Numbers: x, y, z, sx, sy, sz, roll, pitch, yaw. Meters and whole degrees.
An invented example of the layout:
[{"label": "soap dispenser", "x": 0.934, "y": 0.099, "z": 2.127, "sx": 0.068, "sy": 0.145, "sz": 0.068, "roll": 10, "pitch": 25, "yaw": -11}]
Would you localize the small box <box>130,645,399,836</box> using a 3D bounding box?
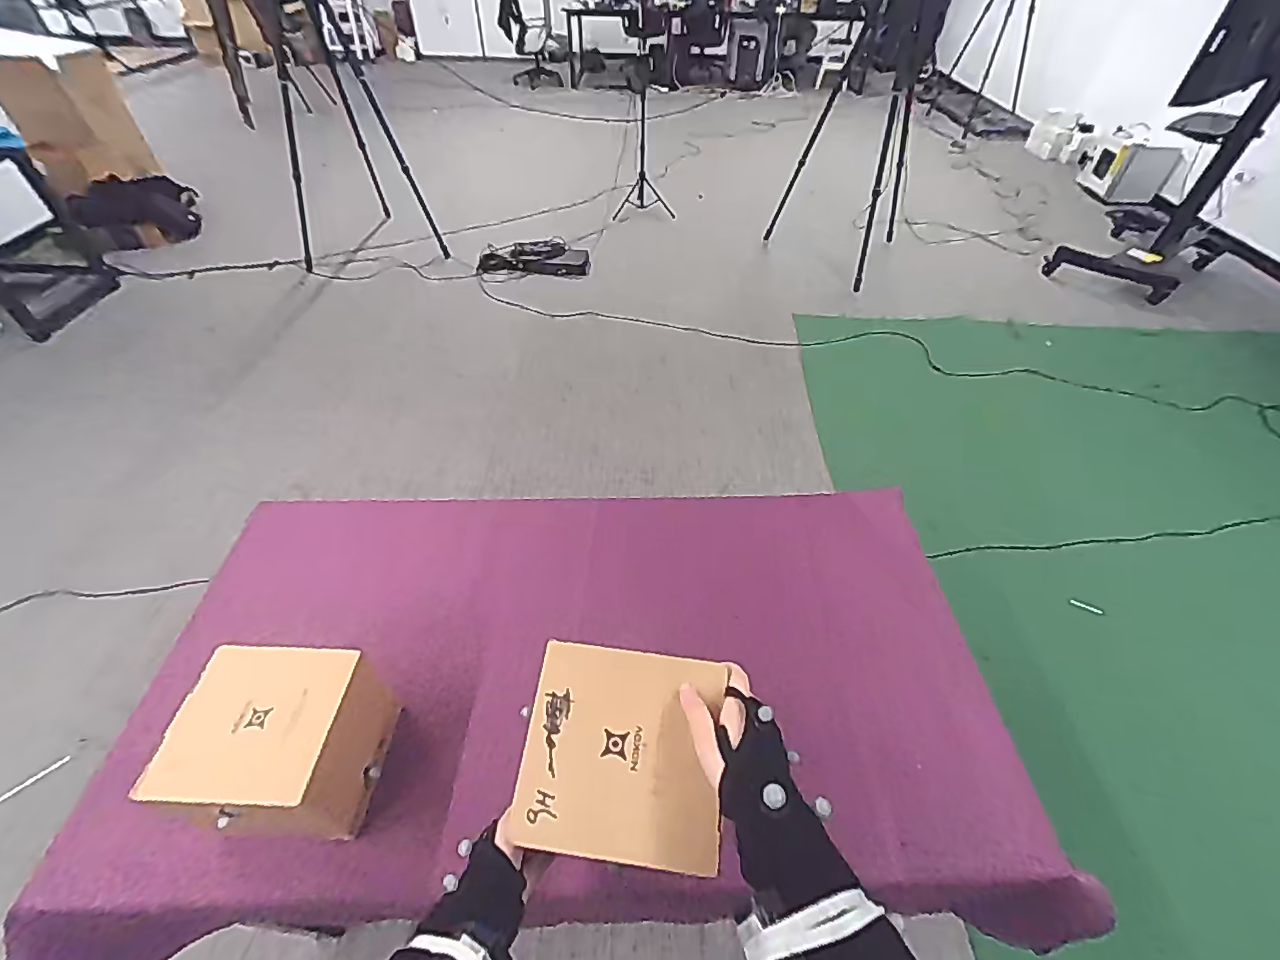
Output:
[{"label": "small box", "x": -0.423, "y": 0.315, "z": 0.650, "sx": 0.179, "sy": 0.176, "sz": 0.168, "roll": 2, "pitch": 47, "yaw": 0}]
